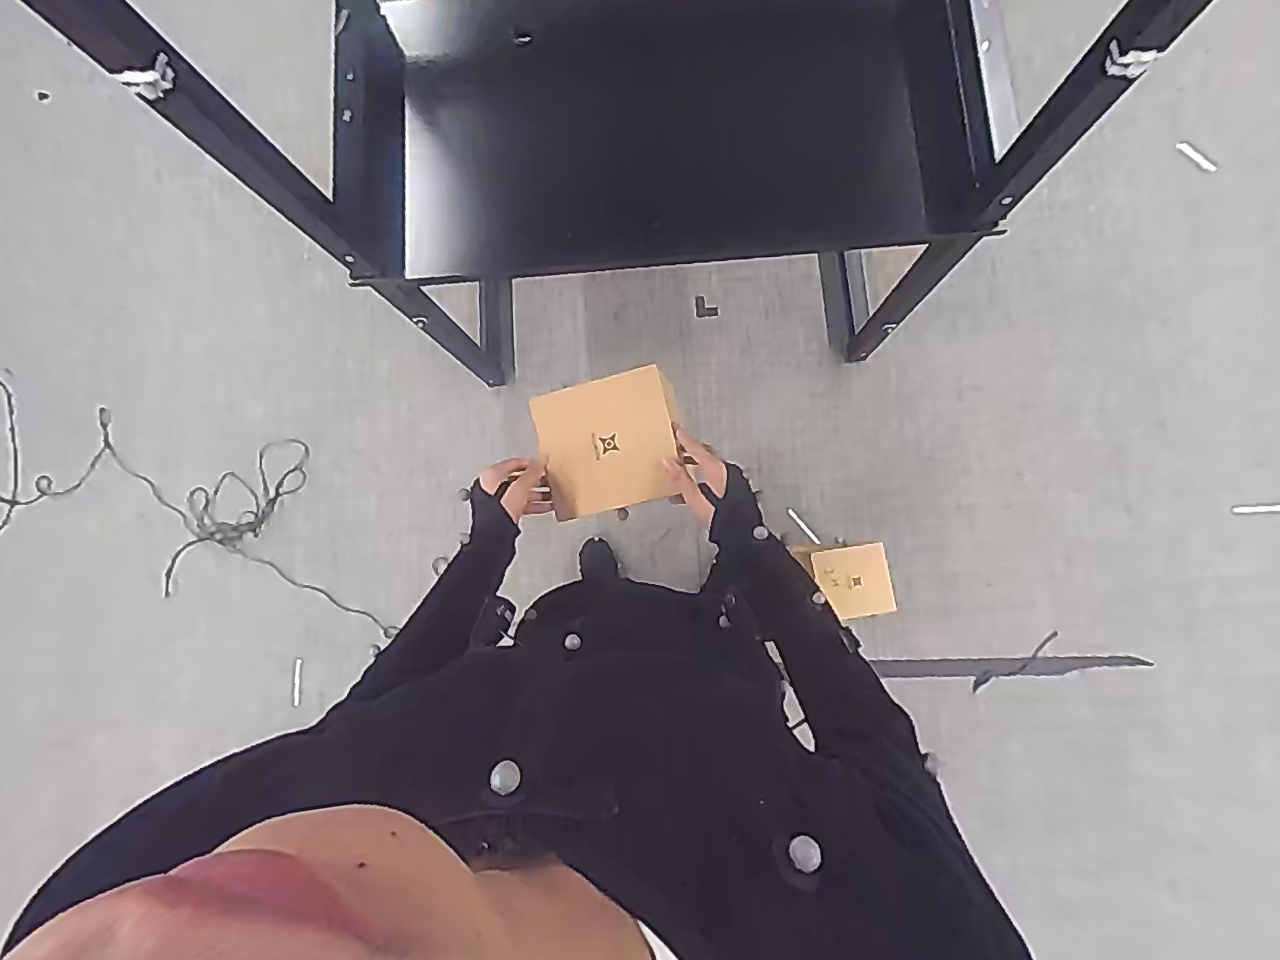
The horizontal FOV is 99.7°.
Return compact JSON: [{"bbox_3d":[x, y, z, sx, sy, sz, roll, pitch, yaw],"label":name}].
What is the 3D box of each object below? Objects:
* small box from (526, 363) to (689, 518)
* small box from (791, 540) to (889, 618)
[{"bbox_3d":[-0.033,-0.052,0.755,0.179,0.176,0.168,-14,90,11],"label":"small box"},{"bbox_3d":[0.496,0.242,1.362,0.179,0.176,0.168,-9,83,3],"label":"small box"}]
